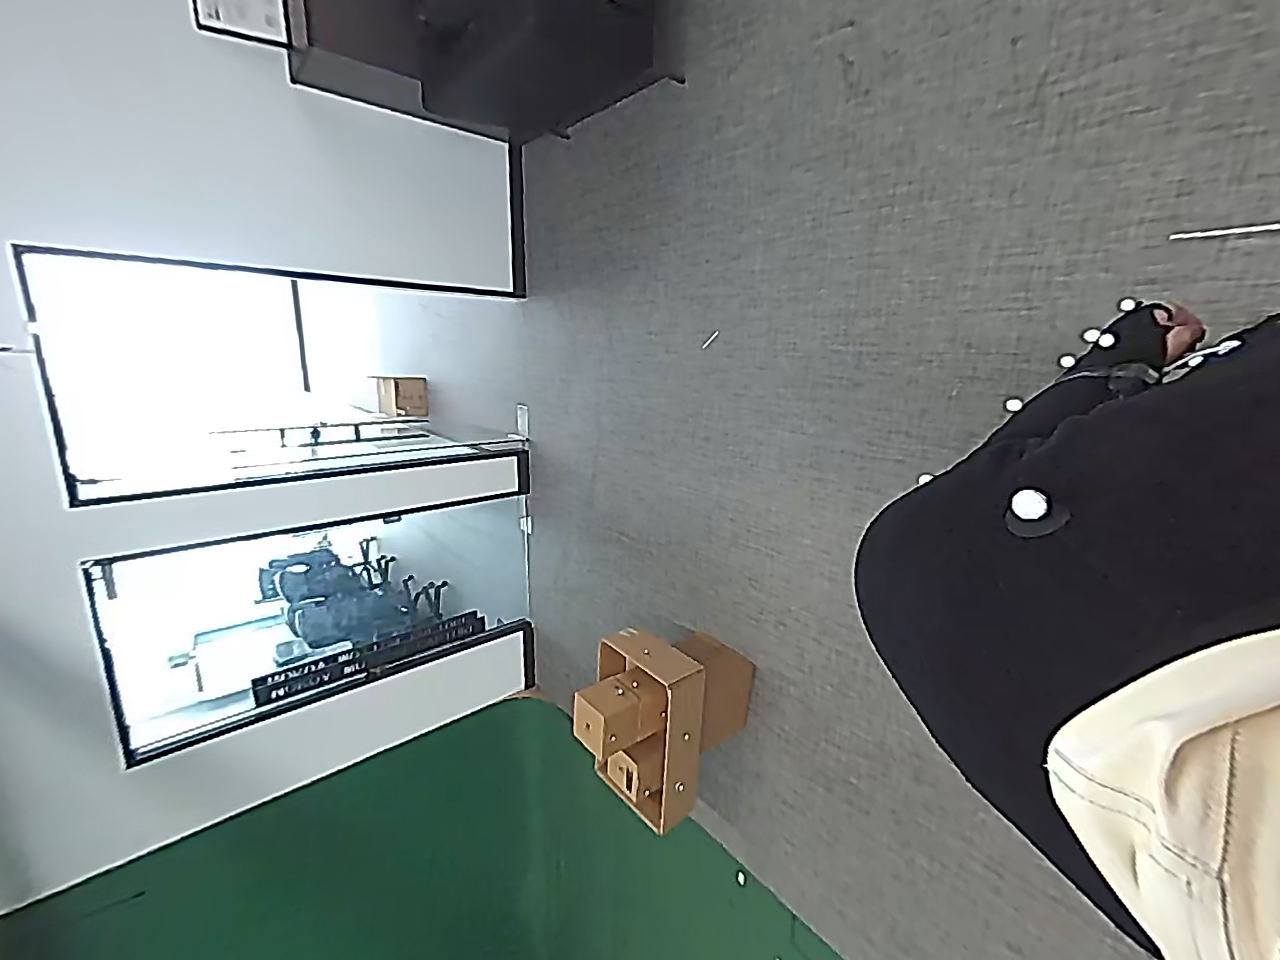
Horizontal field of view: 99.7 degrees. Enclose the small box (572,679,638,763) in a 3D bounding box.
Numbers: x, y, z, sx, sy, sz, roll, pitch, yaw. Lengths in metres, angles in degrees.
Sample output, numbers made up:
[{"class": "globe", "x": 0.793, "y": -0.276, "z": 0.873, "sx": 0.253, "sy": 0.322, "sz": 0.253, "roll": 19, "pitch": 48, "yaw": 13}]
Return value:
[{"class": "small box", "x": -0.121, "y": 0.833, "z": 1.883, "sx": 0.168, "sy": 0.176, "sz": 0.179, "roll": 19, "pitch": 111, "yaw": 45}]
